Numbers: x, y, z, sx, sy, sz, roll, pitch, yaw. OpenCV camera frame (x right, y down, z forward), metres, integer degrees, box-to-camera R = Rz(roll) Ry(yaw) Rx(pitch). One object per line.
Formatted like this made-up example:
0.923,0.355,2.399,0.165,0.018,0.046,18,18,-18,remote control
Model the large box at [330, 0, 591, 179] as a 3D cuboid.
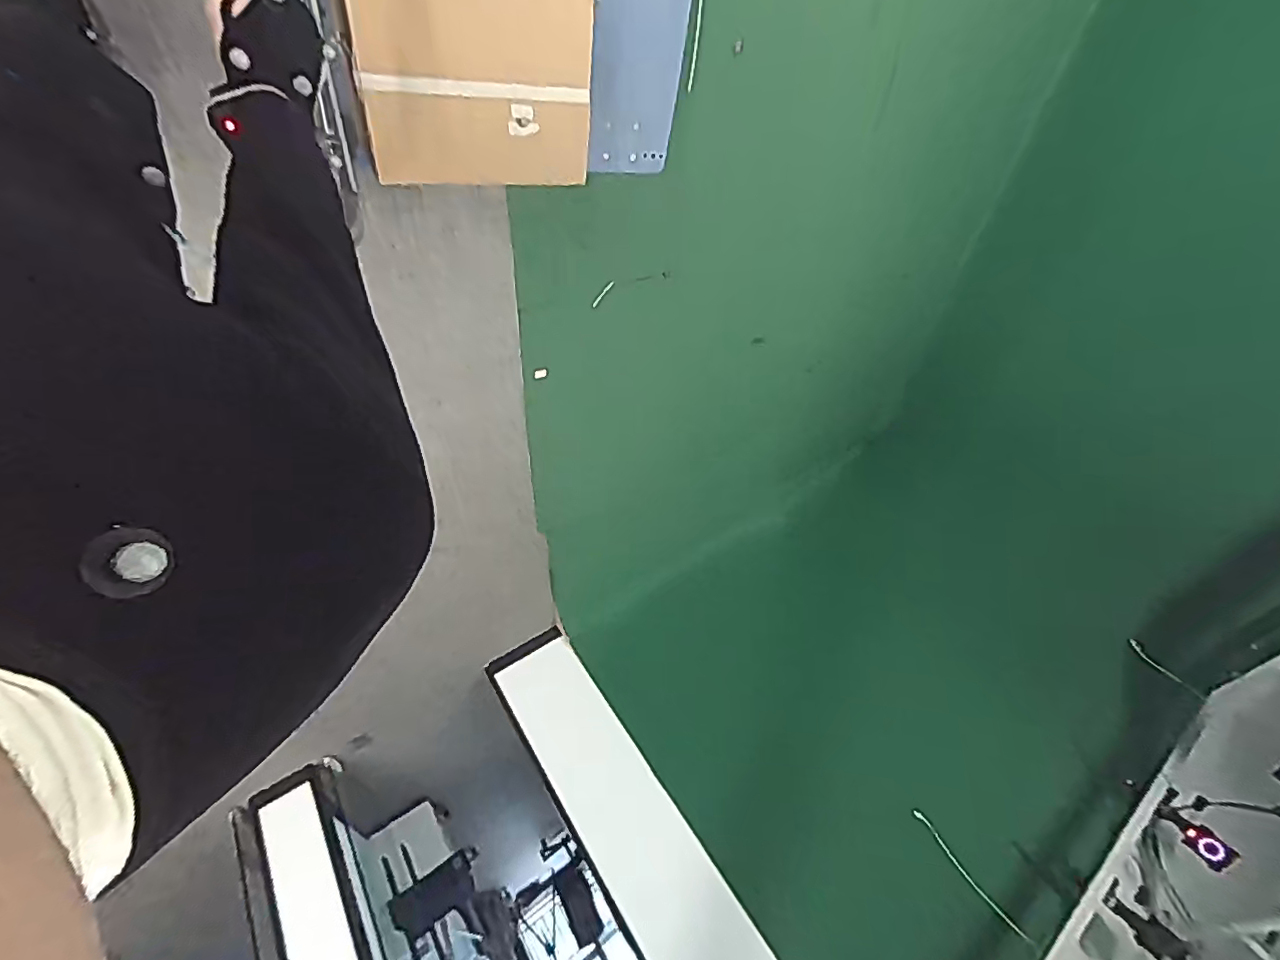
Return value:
-0.345,-0.800,1.045,0.408,0.320,0.320,-15,138,-25,large box
